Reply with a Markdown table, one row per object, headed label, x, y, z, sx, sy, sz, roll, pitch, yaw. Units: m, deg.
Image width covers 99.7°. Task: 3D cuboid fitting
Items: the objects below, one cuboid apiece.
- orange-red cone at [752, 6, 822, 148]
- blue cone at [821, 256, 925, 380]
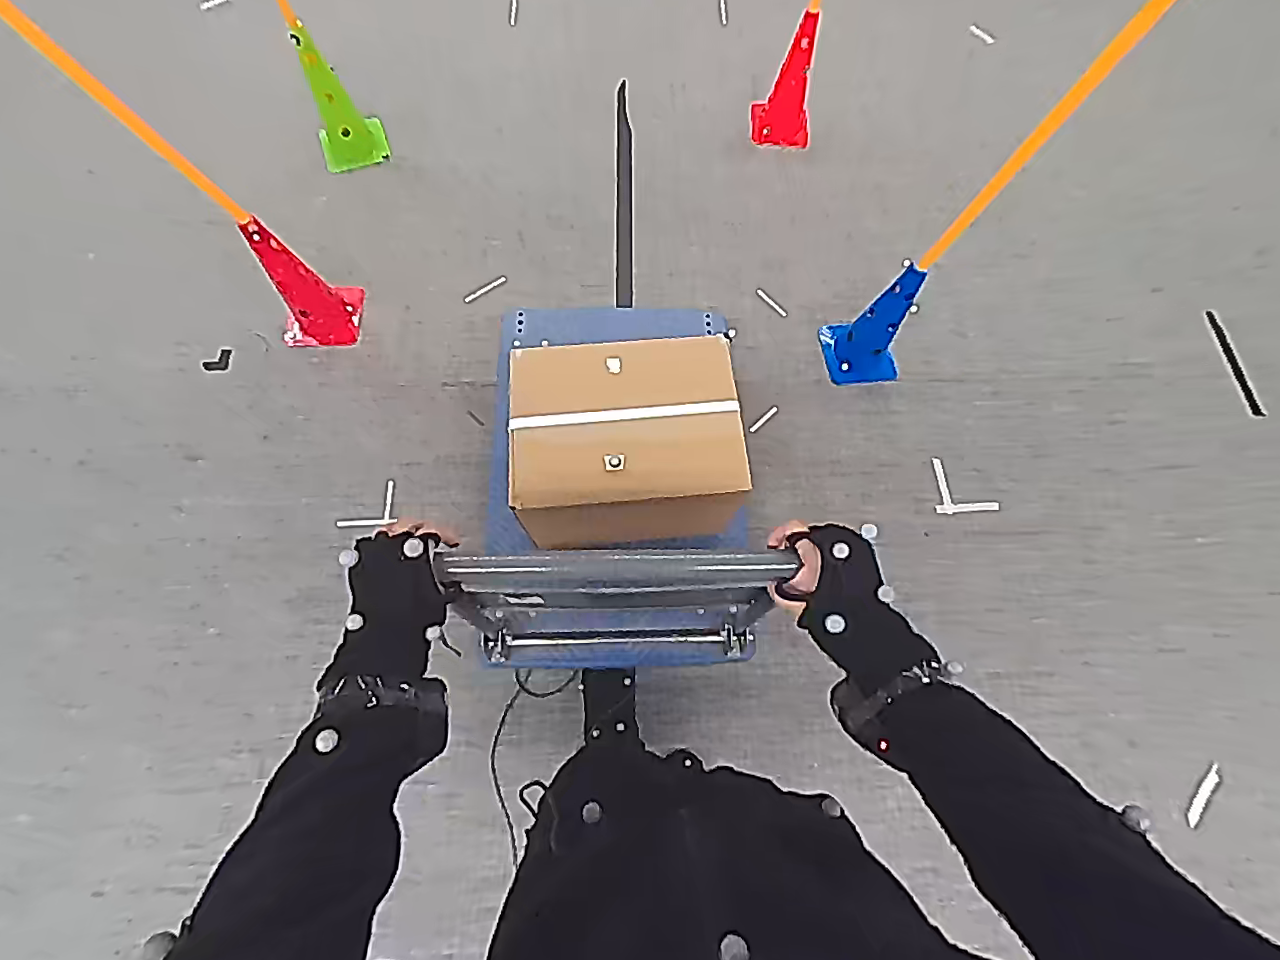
| label | x | y | z | sx | sy | sz | roll | pitch | yaw |
| --- | --- | --- | --- | --- | --- | --- | --- | --- | --- |
| orange-red cone | 0.500 | -1.291 | 1.717 | 0.199 | 0.360 | 0.198 | 6 | 71 | -1 |
| blue cone | 0.647 | -0.437 | 1.436 | 0.193 | 0.380 | 0.192 | -4 | 70 | -4 |
